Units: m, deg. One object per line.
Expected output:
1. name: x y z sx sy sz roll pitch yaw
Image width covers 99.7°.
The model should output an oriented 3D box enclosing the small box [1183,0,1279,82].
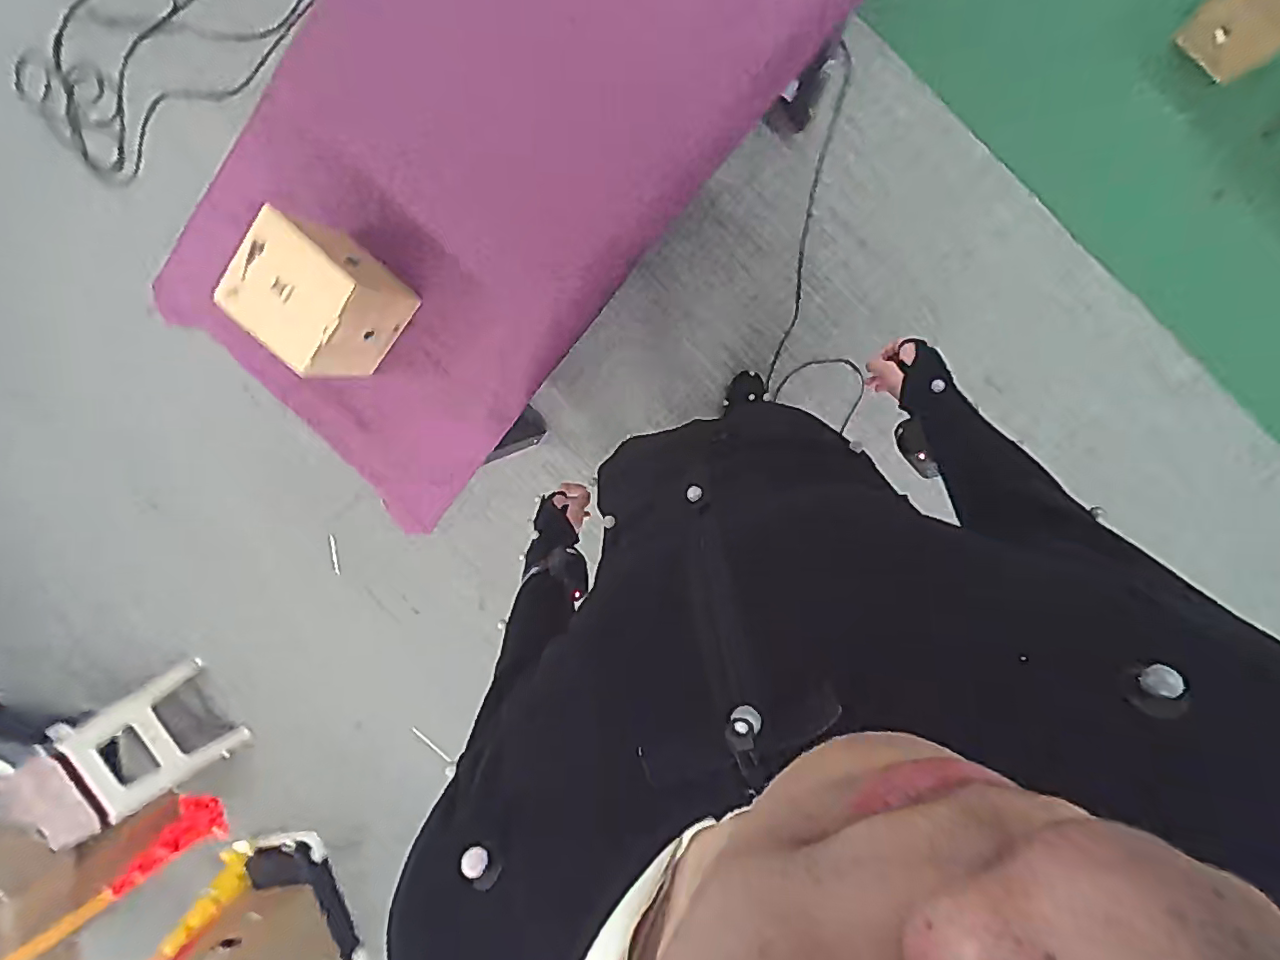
1. small box: 1.342 -1.018 1.161 0.168 0.176 0.179 42 103 0

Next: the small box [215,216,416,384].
1. small box: -0.494 -0.273 0.850 0.179 0.176 0.168 41 104 -1
